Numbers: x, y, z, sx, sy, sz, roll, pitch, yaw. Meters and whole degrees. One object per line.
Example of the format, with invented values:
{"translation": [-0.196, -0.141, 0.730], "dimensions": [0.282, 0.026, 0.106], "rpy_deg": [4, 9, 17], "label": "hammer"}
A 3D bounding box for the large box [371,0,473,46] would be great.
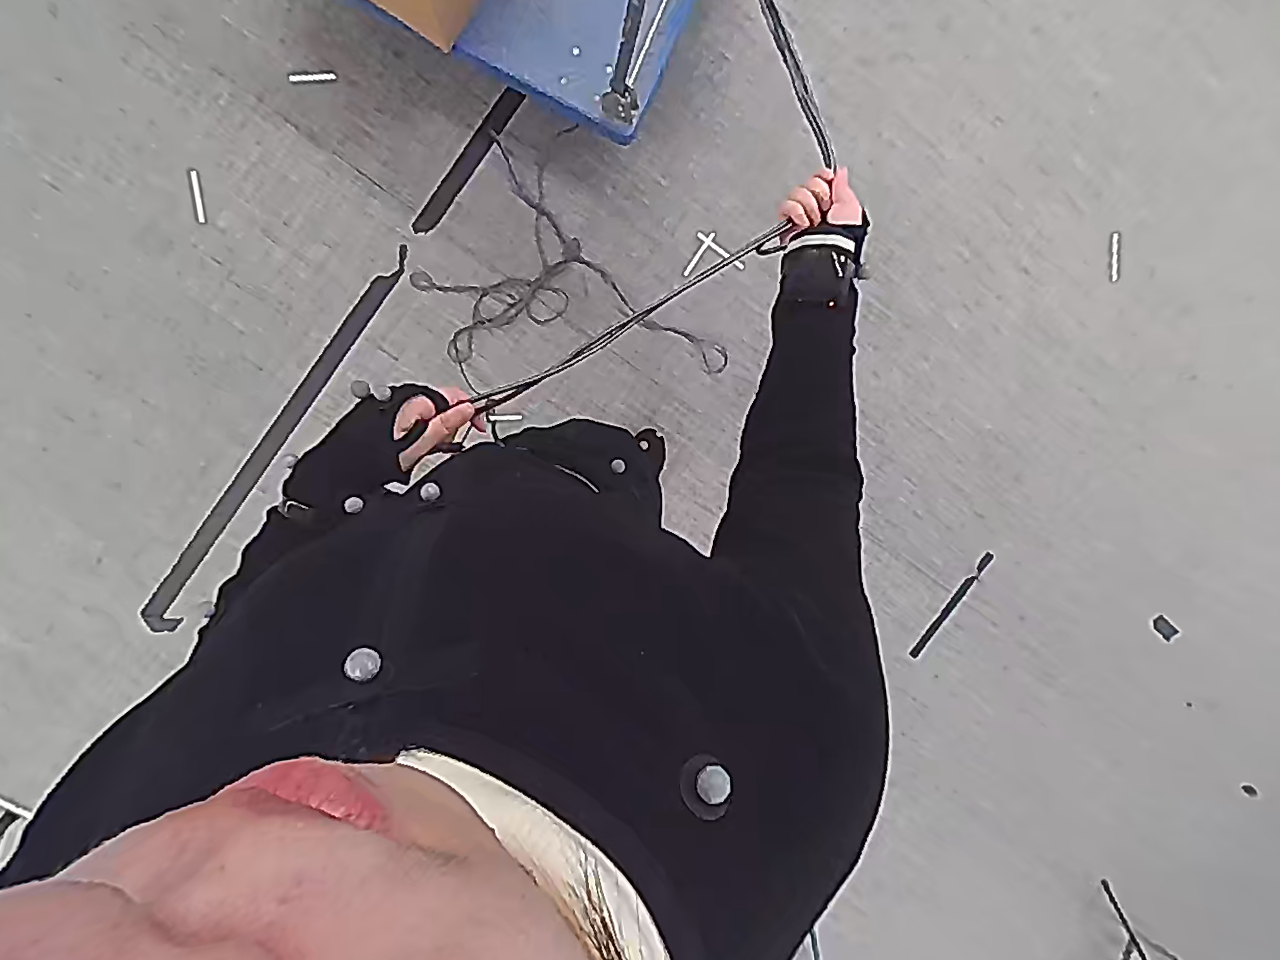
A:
{"translation": [-0.490, -1.120, 0.968], "dimensions": [0.408, 0.320, 0.320], "rpy_deg": [28, 92, -9], "label": "large box"}
